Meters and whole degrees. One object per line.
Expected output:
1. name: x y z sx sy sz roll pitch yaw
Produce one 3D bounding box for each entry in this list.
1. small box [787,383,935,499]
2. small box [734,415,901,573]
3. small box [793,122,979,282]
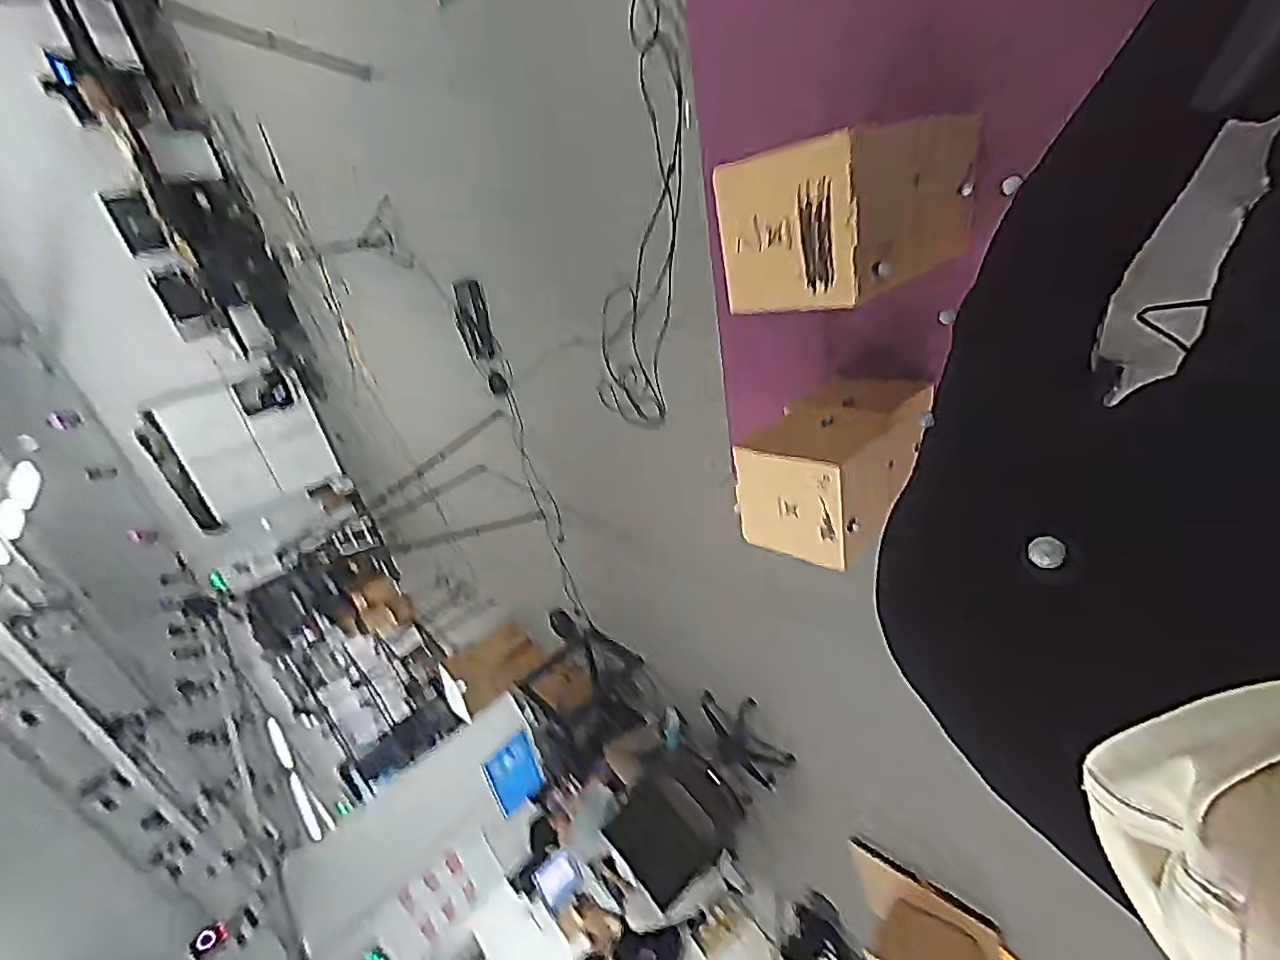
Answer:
1. small box: 0.378 -0.062 0.925 0.179 0.176 0.168 13 124 46
2. small box: 0.270 0.009 0.822 0.179 0.176 0.168 16 127 46
3. small box: 0.335 -0.377 0.746 0.179 0.176 0.168 17 128 45
